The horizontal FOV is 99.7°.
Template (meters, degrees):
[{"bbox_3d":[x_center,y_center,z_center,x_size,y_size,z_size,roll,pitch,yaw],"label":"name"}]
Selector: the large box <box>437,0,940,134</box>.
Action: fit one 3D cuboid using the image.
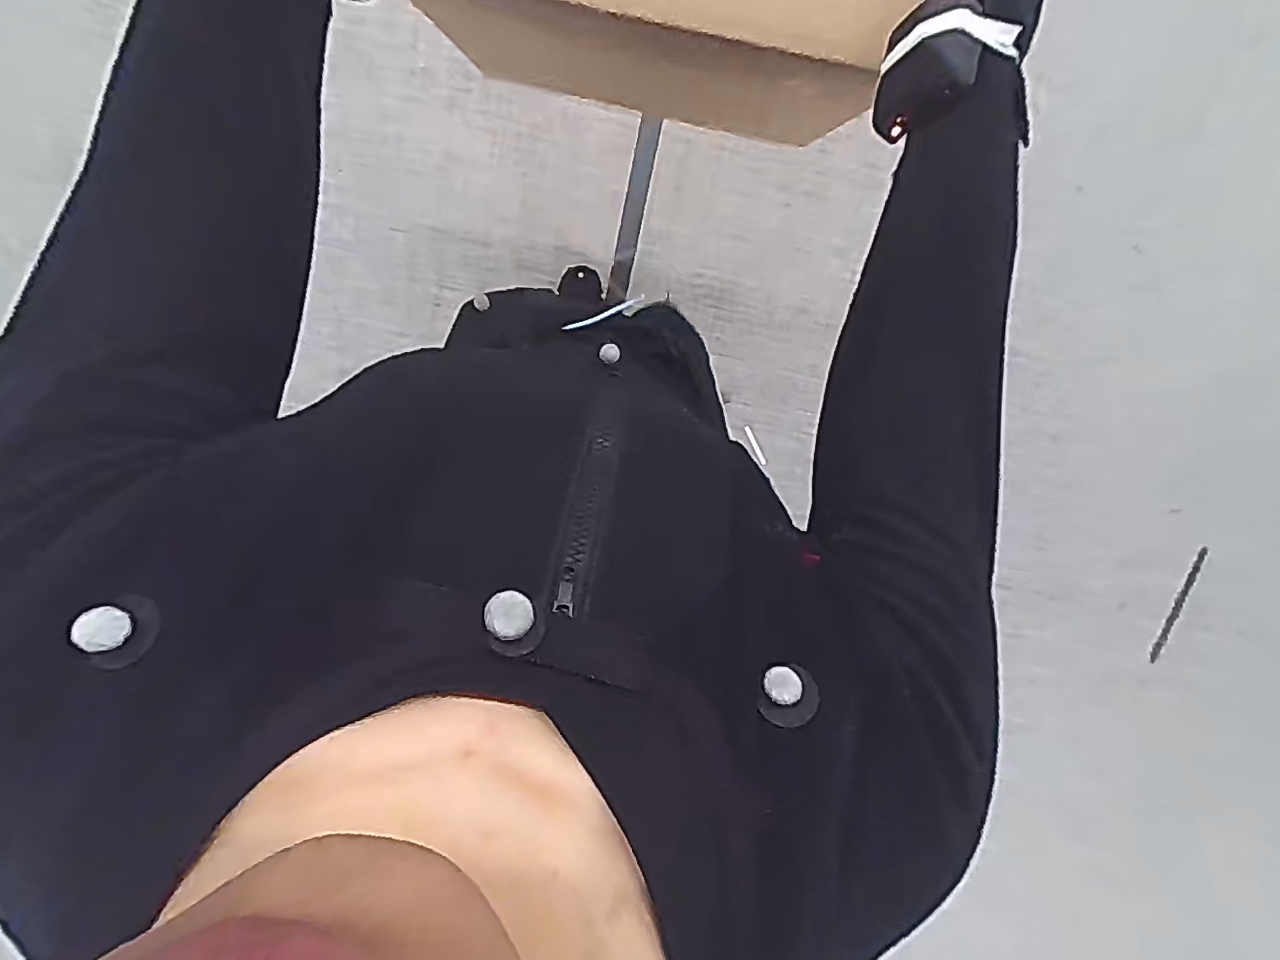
[{"bbox_3d":[0.041,-0.537,0.464,0.408,0.320,0.320,10,115,-4],"label":"large box"}]
